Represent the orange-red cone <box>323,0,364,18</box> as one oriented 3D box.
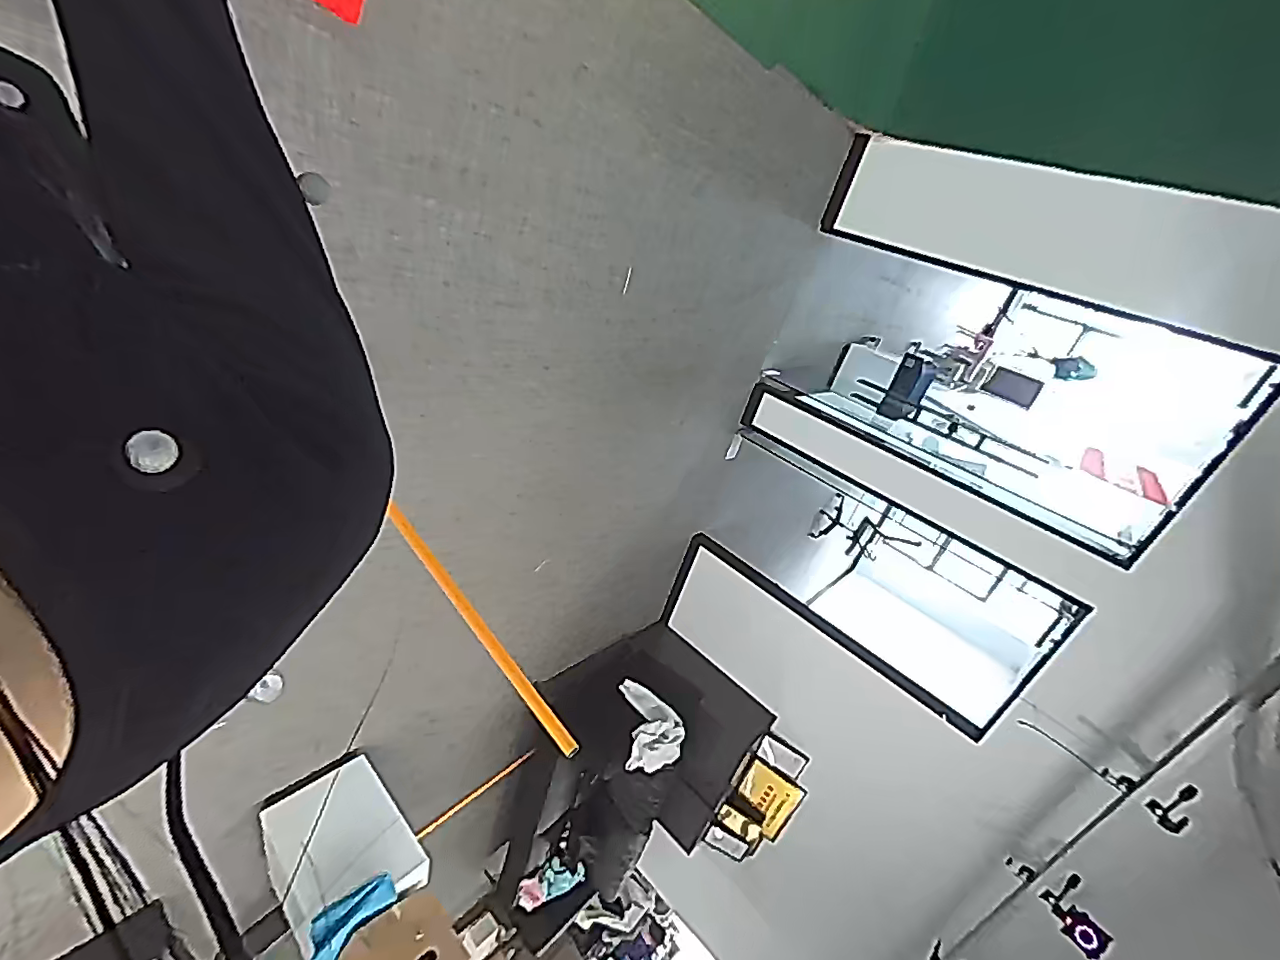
[{"bbox_3d":[-0.501,-0.973,0.963,0.198,0.360,0.199,3,119,-55],"label":"orange-red cone"}]
